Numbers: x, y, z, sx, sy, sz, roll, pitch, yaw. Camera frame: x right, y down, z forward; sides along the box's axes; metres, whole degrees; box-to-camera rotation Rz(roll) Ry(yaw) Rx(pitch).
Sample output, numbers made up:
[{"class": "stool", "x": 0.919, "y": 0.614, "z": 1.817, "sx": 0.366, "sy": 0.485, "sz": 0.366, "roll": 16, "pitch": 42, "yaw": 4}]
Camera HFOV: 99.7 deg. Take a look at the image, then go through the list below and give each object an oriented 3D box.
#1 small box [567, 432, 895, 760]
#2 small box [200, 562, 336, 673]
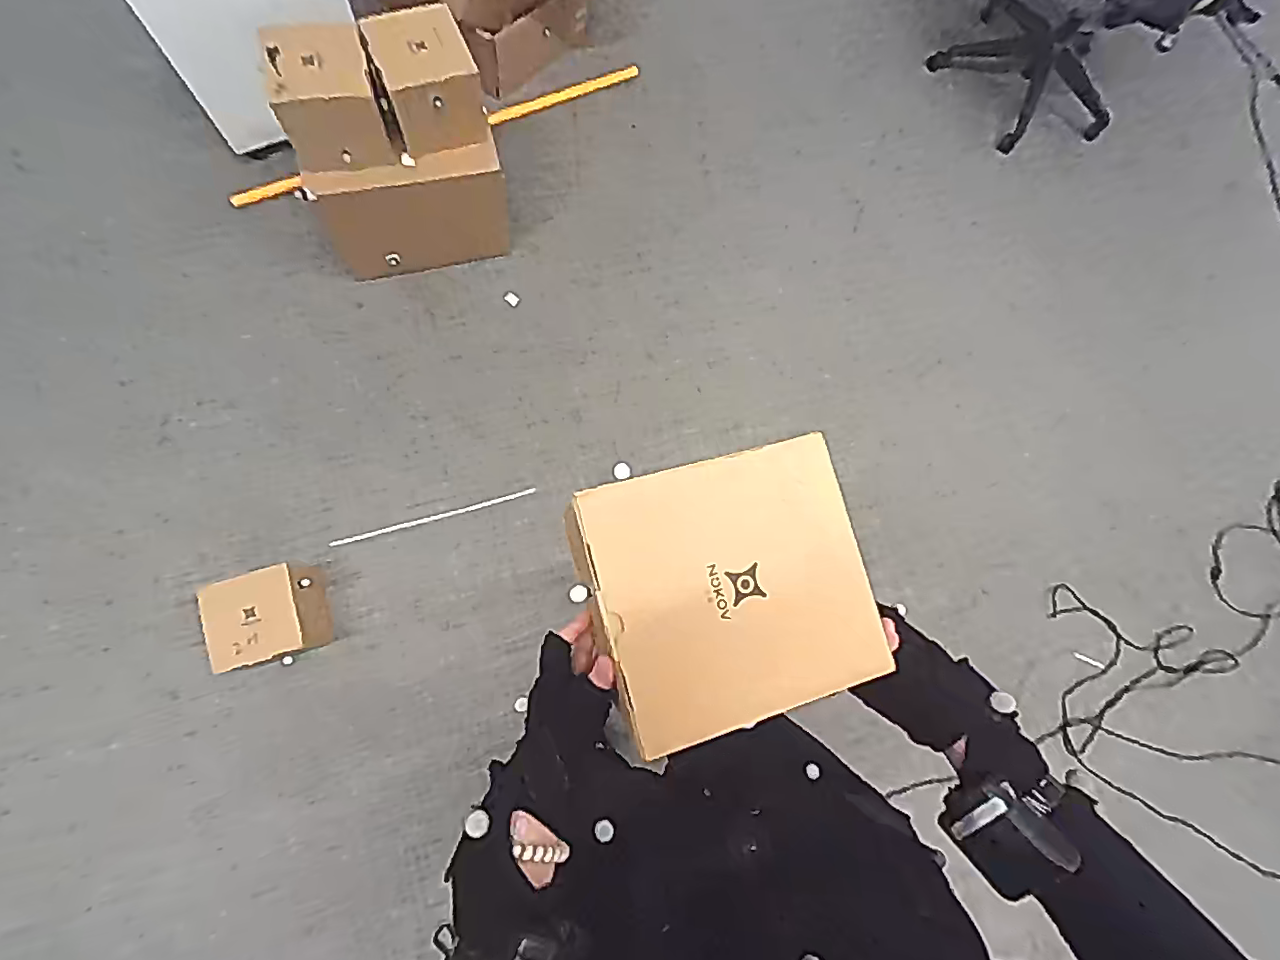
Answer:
[{"class": "small box", "x": 0.049, "y": 0.074, "z": 0.414, "sx": 0.179, "sy": 0.176, "sz": 0.168, "roll": -15, "pitch": 85, "yaw": -11}, {"class": "small box", "x": -0.766, "y": 0.283, "z": 1.129, "sx": 0.168, "sy": 0.176, "sz": 0.179, "roll": -16, "pitch": 81, "yaw": -11}]
